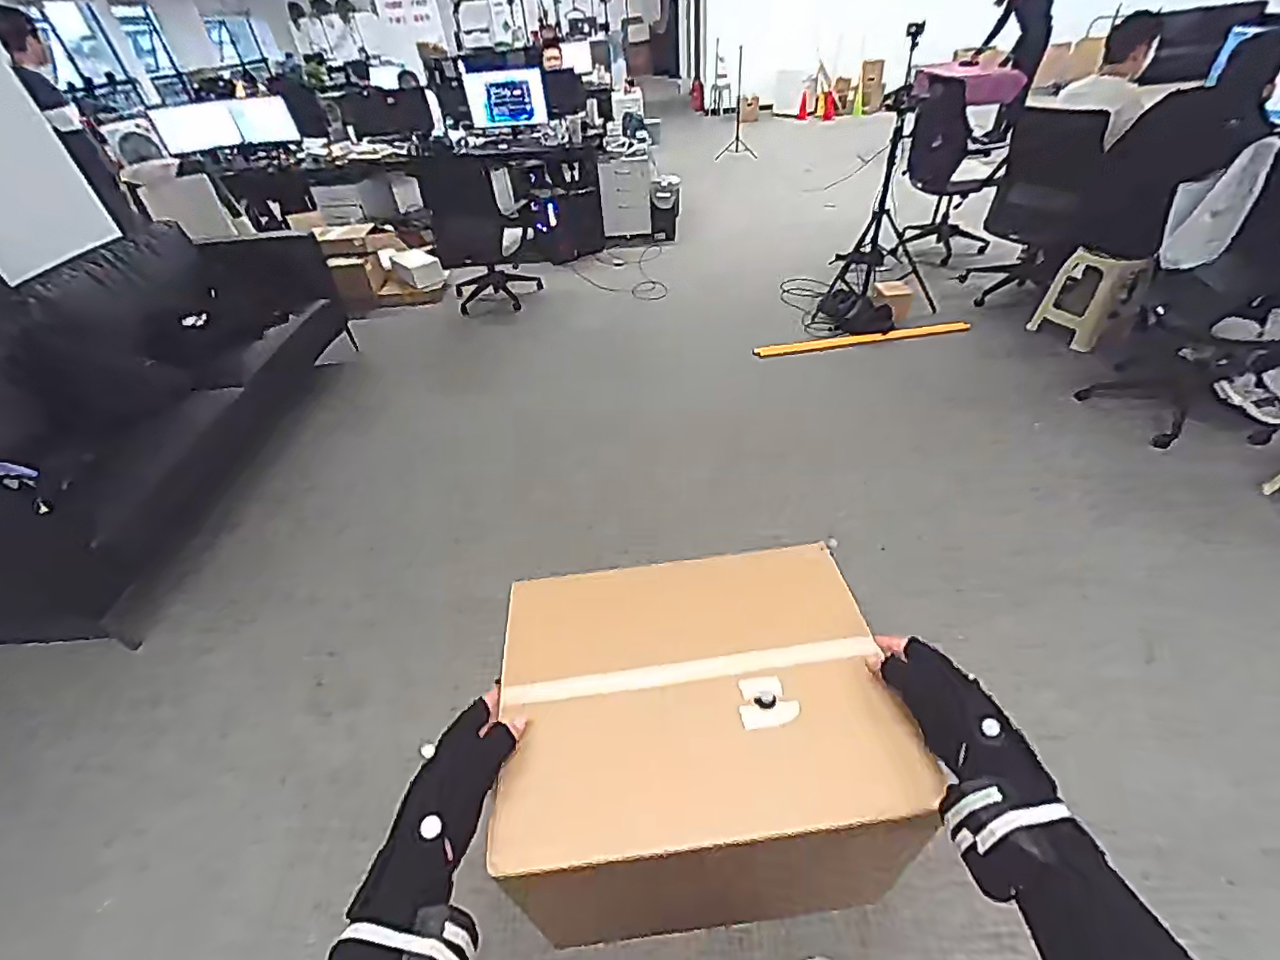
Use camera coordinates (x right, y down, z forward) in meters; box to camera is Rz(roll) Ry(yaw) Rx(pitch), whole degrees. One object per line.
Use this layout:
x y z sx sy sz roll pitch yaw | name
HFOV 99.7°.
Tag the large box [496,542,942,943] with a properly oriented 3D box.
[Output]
0.065 0.315 0.672 0.408 0.320 0.320 -7 40 -2 | large box
